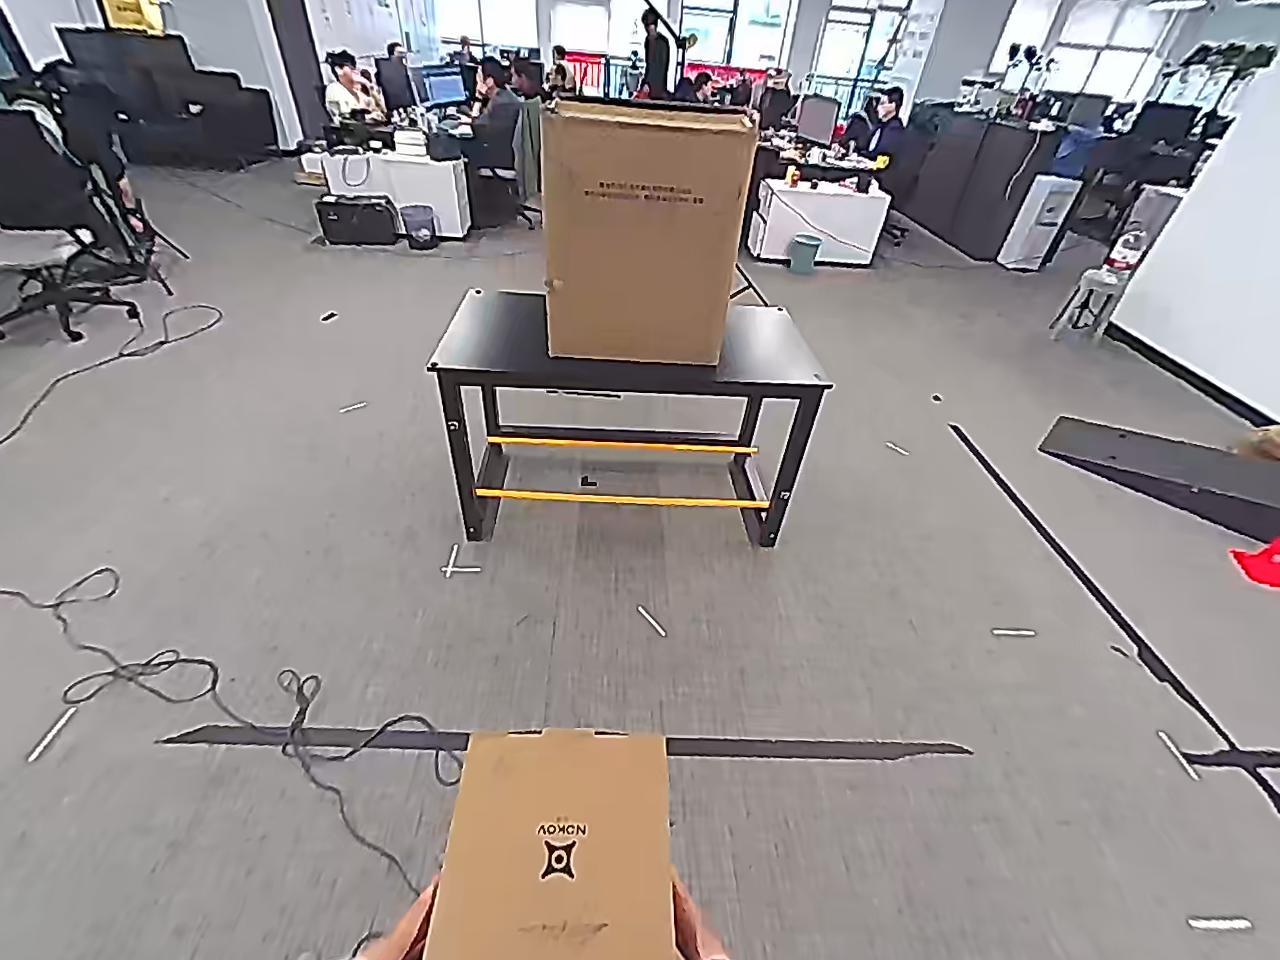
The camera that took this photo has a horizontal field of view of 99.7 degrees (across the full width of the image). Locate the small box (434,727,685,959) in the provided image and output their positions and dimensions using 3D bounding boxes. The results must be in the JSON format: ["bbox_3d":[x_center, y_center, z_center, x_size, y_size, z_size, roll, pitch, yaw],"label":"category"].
[{"bbox_3d":[-0.057,0.329,0.449,0.168,0.176,0.179,1,42,-3],"label":"small box"}]
